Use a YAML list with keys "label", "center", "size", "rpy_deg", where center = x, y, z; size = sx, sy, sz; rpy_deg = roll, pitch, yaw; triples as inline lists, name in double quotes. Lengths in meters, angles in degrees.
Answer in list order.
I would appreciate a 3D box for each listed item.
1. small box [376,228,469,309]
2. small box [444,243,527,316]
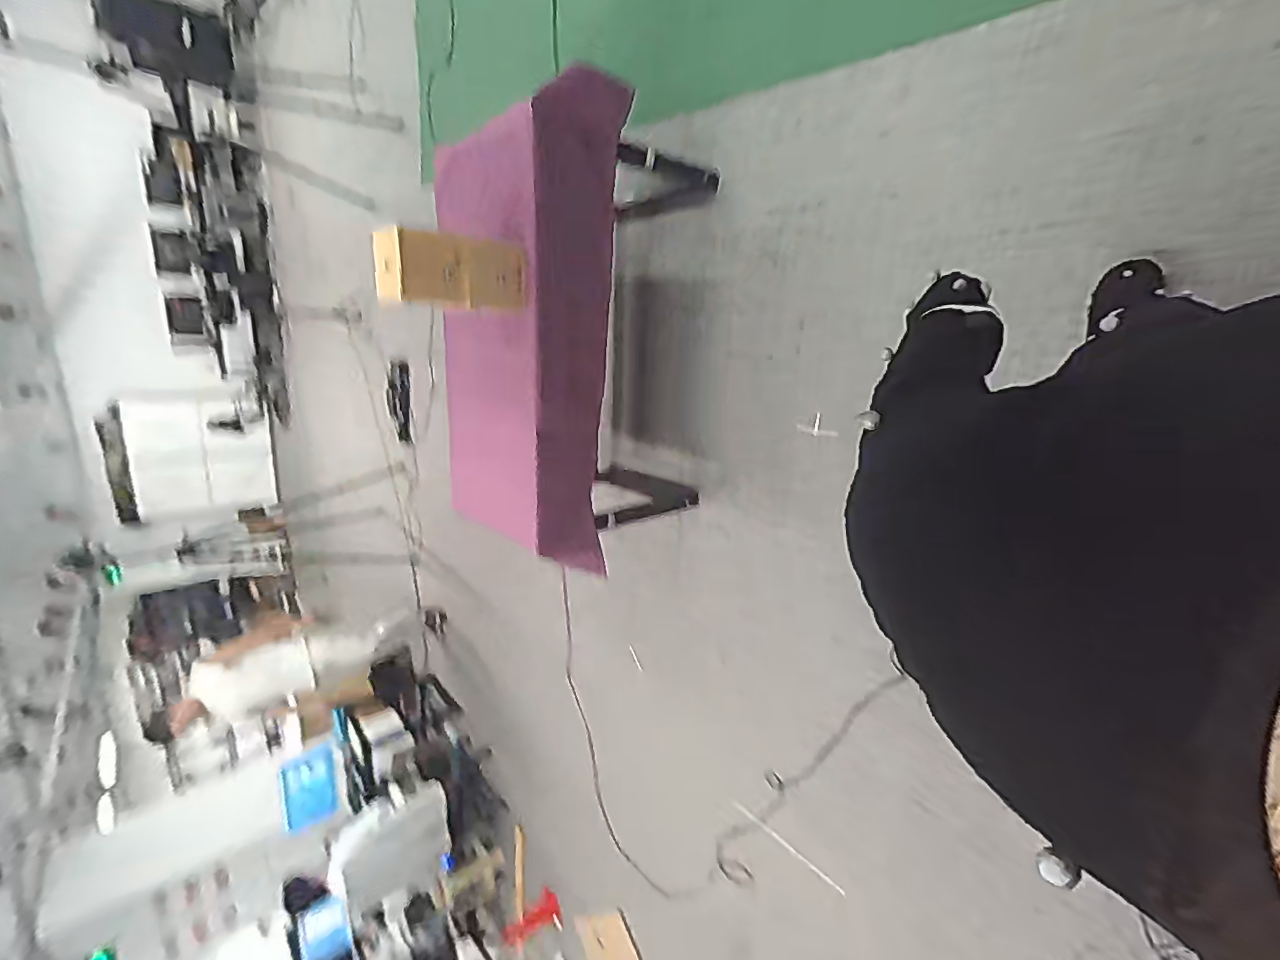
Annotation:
- label: "small box"
  center: [-0.543, -0.522, 1.354]
  size: [0.179, 0.176, 0.168]
  rpy_deg: [18, 111, 44]
- label: "small box"
  center: [-0.418, -0.536, 1.458]
  size: [0.179, 0.176, 0.168]
  rpy_deg: [19, 111, 45]
